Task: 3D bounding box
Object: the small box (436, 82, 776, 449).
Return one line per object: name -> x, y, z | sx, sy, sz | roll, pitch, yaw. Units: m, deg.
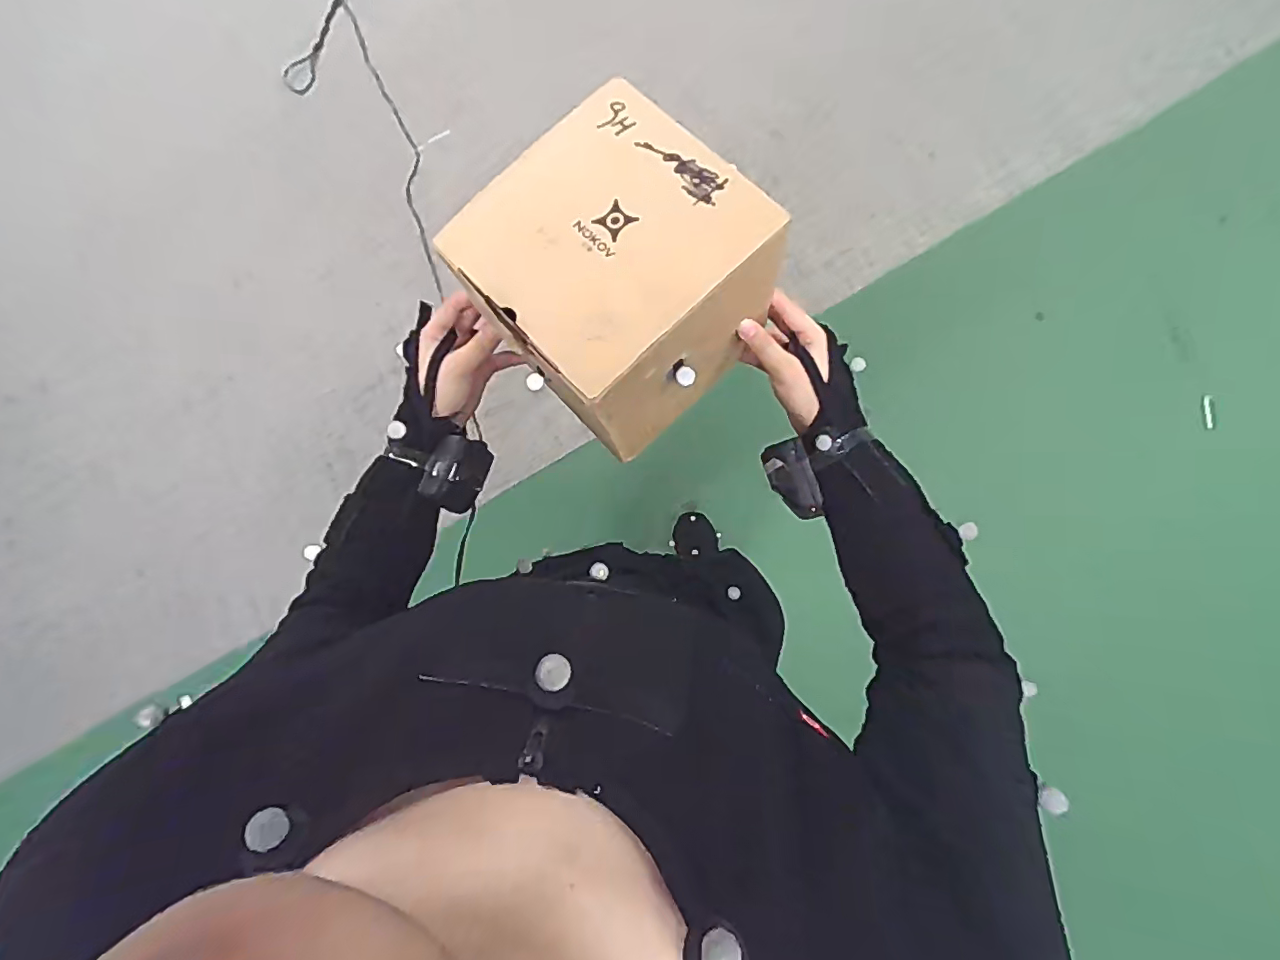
small box -> -0.016, -0.149, 0.436 | 0.179, 0.176, 0.168 | -44, 78, -3
